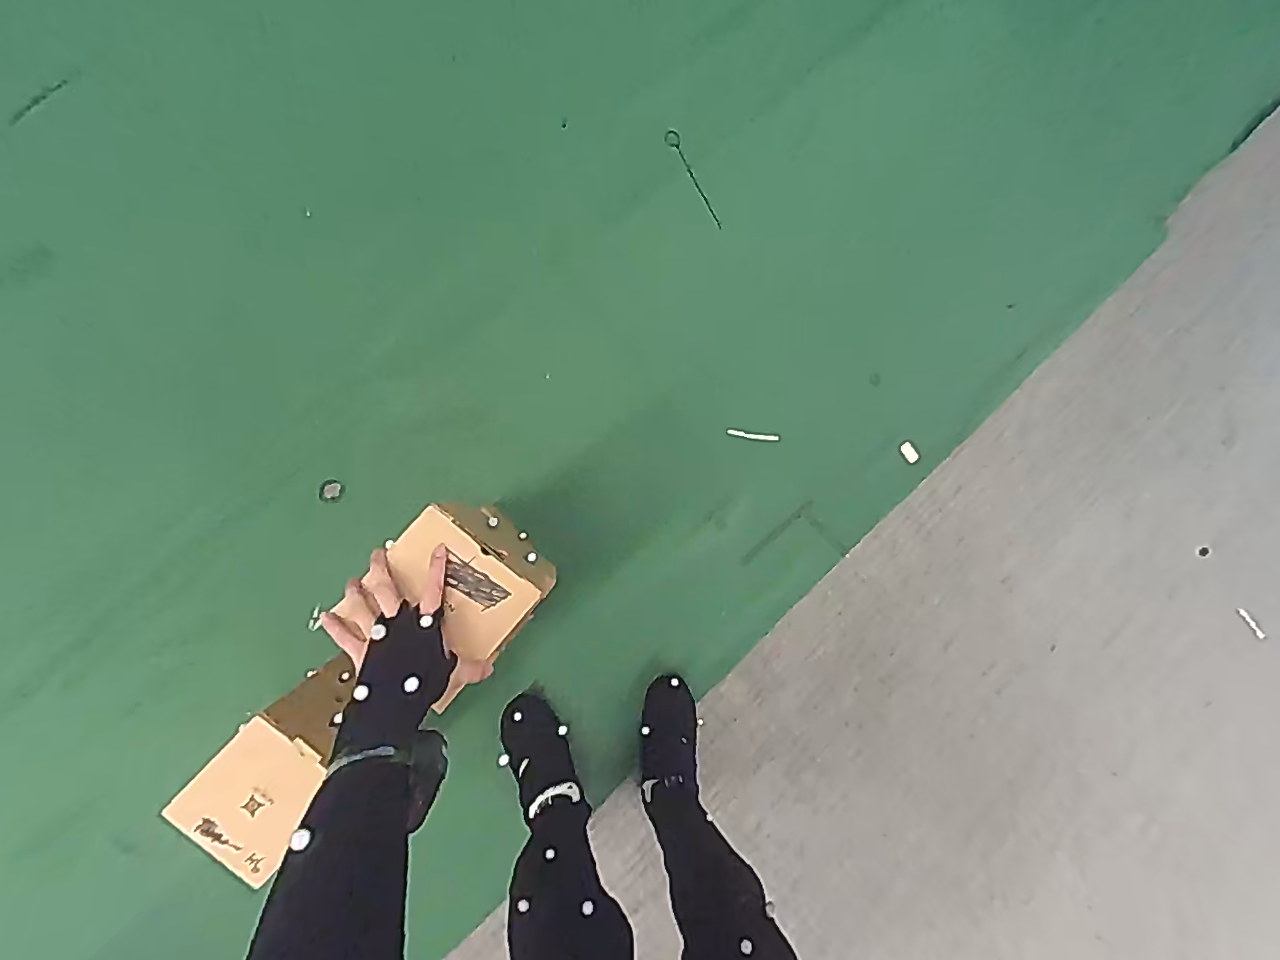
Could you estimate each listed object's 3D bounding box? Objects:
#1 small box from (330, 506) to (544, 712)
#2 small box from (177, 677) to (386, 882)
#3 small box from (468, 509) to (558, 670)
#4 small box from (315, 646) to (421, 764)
[{"bbox_3d":[-0.239,0.146,0.689,0.168,0.176,0.179,41,84,-5],"label":"small box"},{"bbox_3d":[-0.514,0.431,0.814,0.168,0.176,0.179,44,84,-4],"label":"small box"},{"bbox_3d":[-0.247,0.161,0.854,0.179,0.176,0.168,38,85,-6],"label":"small box"},{"bbox_3d":[-0.531,0.432,0.977,0.168,0.176,0.179,-44,94,-6],"label":"small box"}]
